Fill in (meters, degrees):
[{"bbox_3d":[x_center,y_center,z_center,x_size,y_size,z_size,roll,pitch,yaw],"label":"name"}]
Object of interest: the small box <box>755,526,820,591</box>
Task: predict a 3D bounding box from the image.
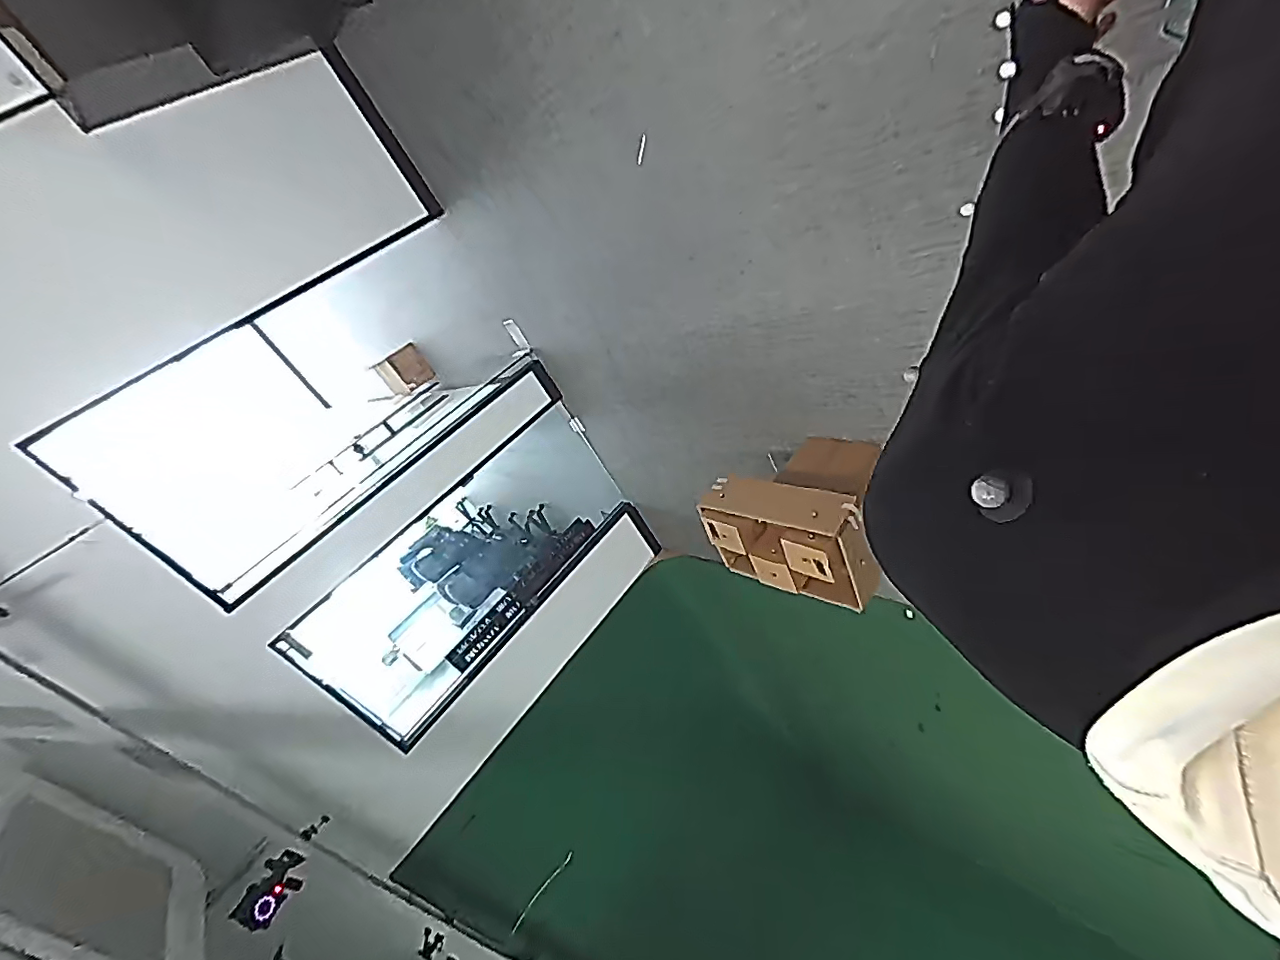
[{"bbox_3d":[0.582,0.301,2.111,0.179,0.176,0.168,11,138,46],"label":"small box"}]
